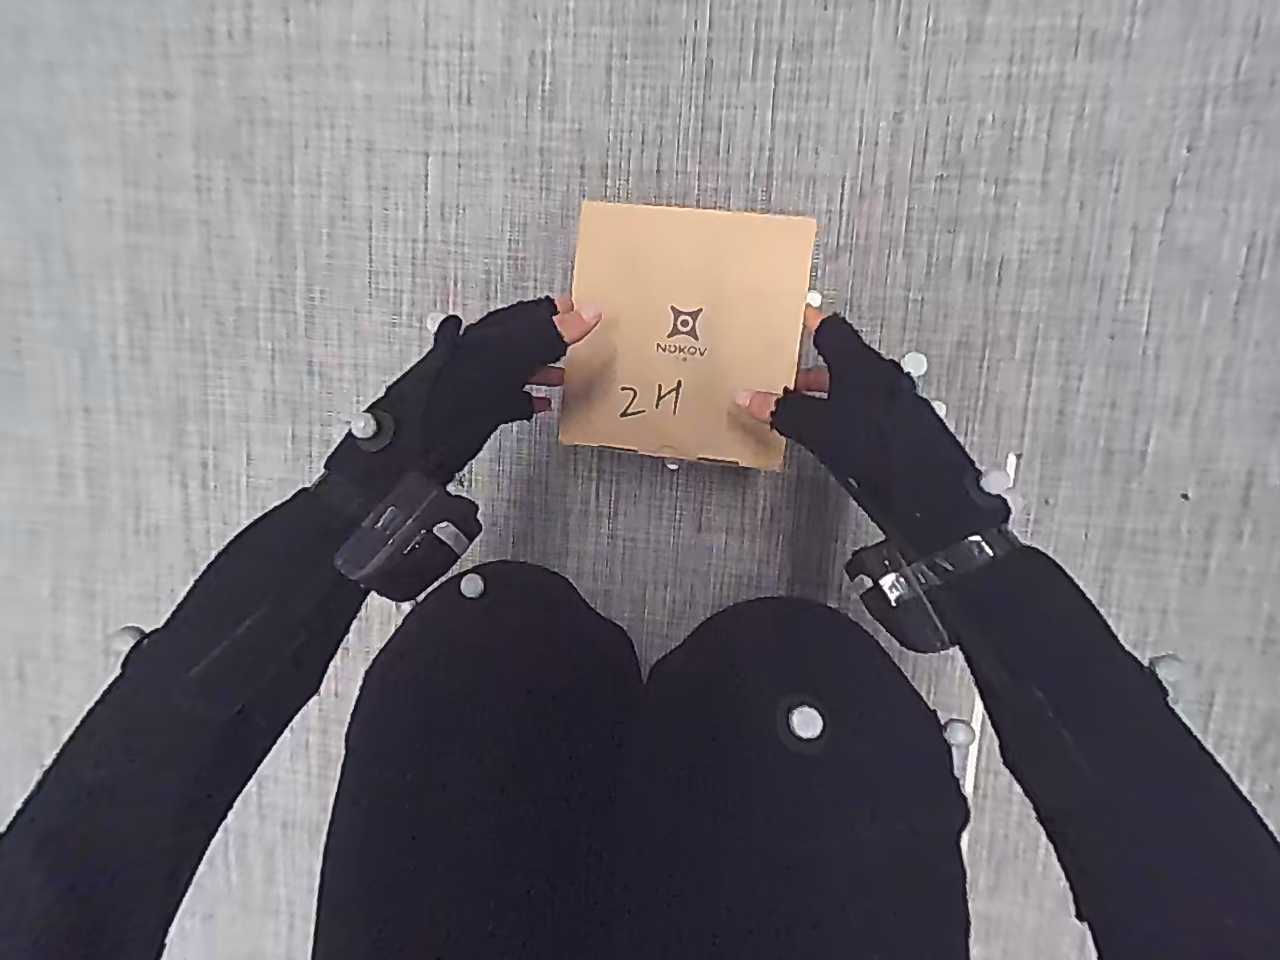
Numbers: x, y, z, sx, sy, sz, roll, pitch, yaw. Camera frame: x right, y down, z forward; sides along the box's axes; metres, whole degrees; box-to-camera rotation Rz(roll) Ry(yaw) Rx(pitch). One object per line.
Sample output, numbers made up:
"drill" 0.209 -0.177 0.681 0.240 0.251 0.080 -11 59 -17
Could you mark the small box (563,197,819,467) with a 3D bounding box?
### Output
"small box" 0.040 -0.111 0.460 0.168 0.176 0.179 6 96 6
